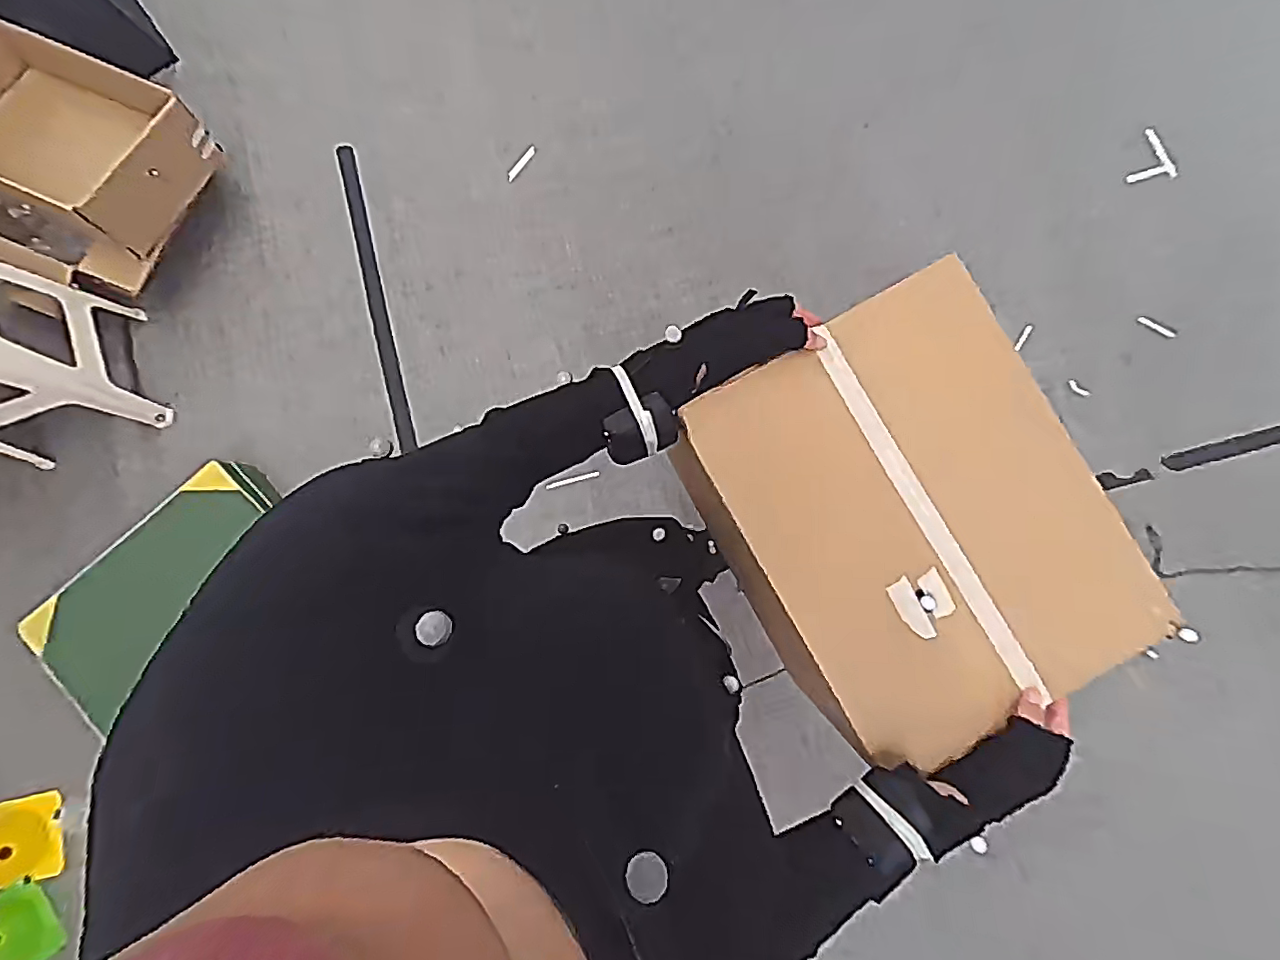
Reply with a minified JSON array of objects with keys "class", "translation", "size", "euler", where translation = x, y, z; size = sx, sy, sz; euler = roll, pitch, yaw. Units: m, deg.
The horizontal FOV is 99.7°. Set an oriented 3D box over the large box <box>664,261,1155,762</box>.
[{"class":"large box","translation":[0.265,0.031,0.671],"size":[0.320,0.320,0.408],"euler":[-30,88,-1]}]
